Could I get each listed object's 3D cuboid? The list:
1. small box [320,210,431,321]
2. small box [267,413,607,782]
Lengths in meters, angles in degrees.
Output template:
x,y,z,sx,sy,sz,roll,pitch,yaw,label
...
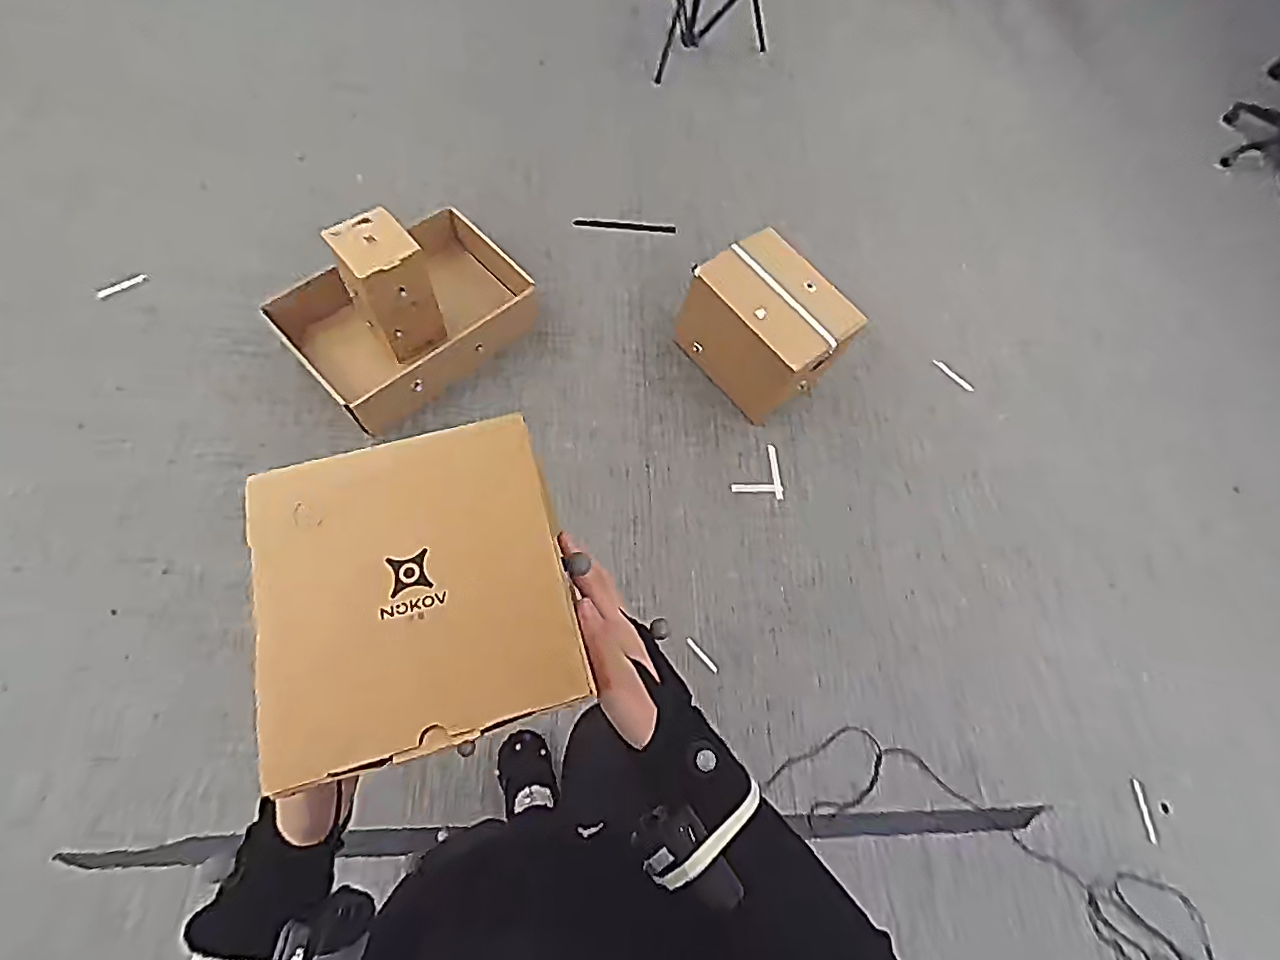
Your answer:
x,y,z,sx,sy,sz,roll,pitch,yaw,label
-0.654,-0.529,1.360,0.168,0.176,0.179,-37,77,-21,small box
-0.125,0.081,0.378,0.168,0.176,0.179,-14,71,-9,small box
